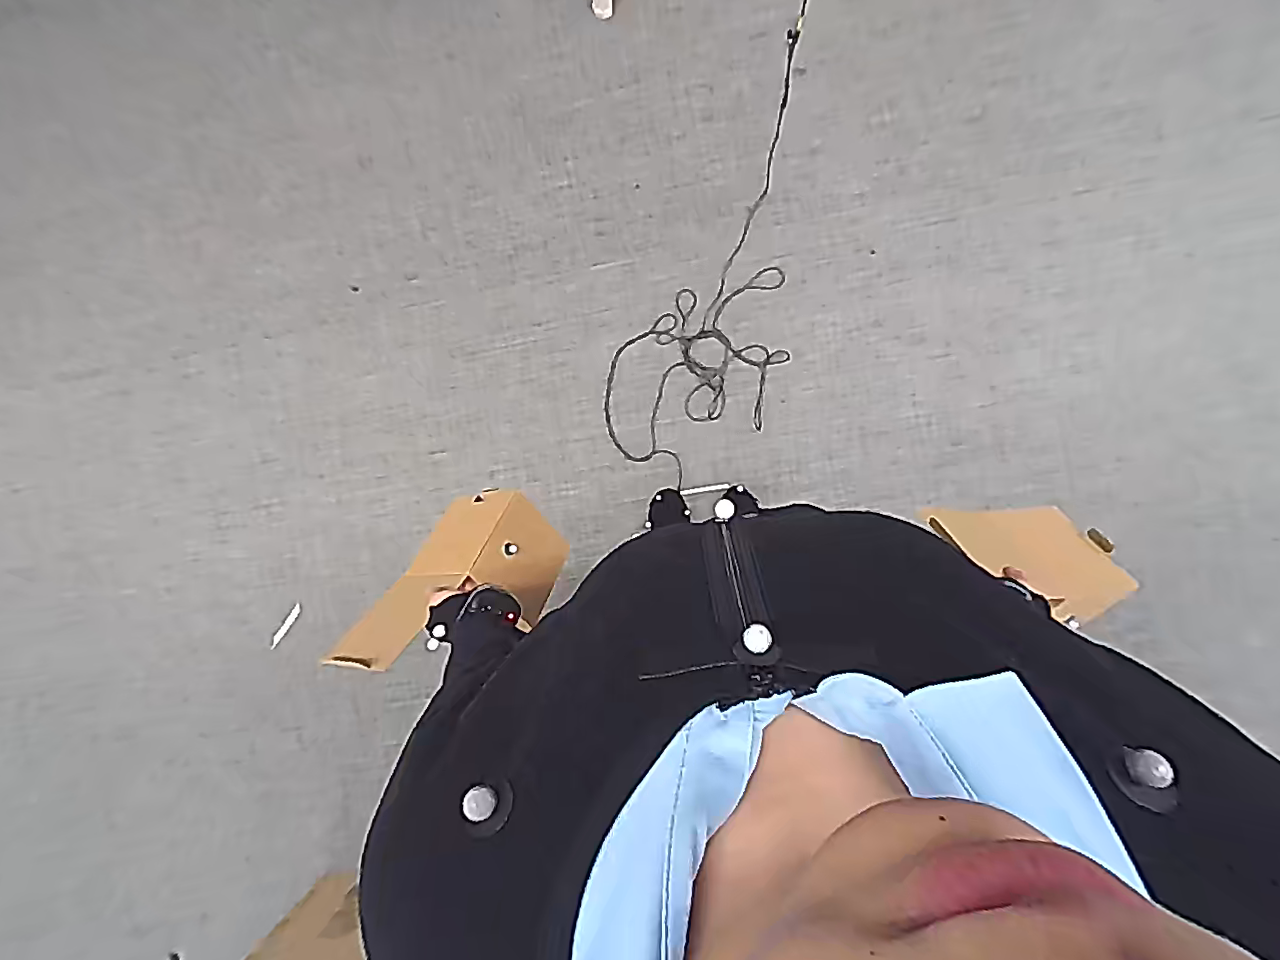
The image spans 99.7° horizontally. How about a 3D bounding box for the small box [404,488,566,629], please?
[{"bbox_3d":[-0.255,0.139,0.931,0.168,0.179,0.176,-7,134,33],"label":"small box"}]
